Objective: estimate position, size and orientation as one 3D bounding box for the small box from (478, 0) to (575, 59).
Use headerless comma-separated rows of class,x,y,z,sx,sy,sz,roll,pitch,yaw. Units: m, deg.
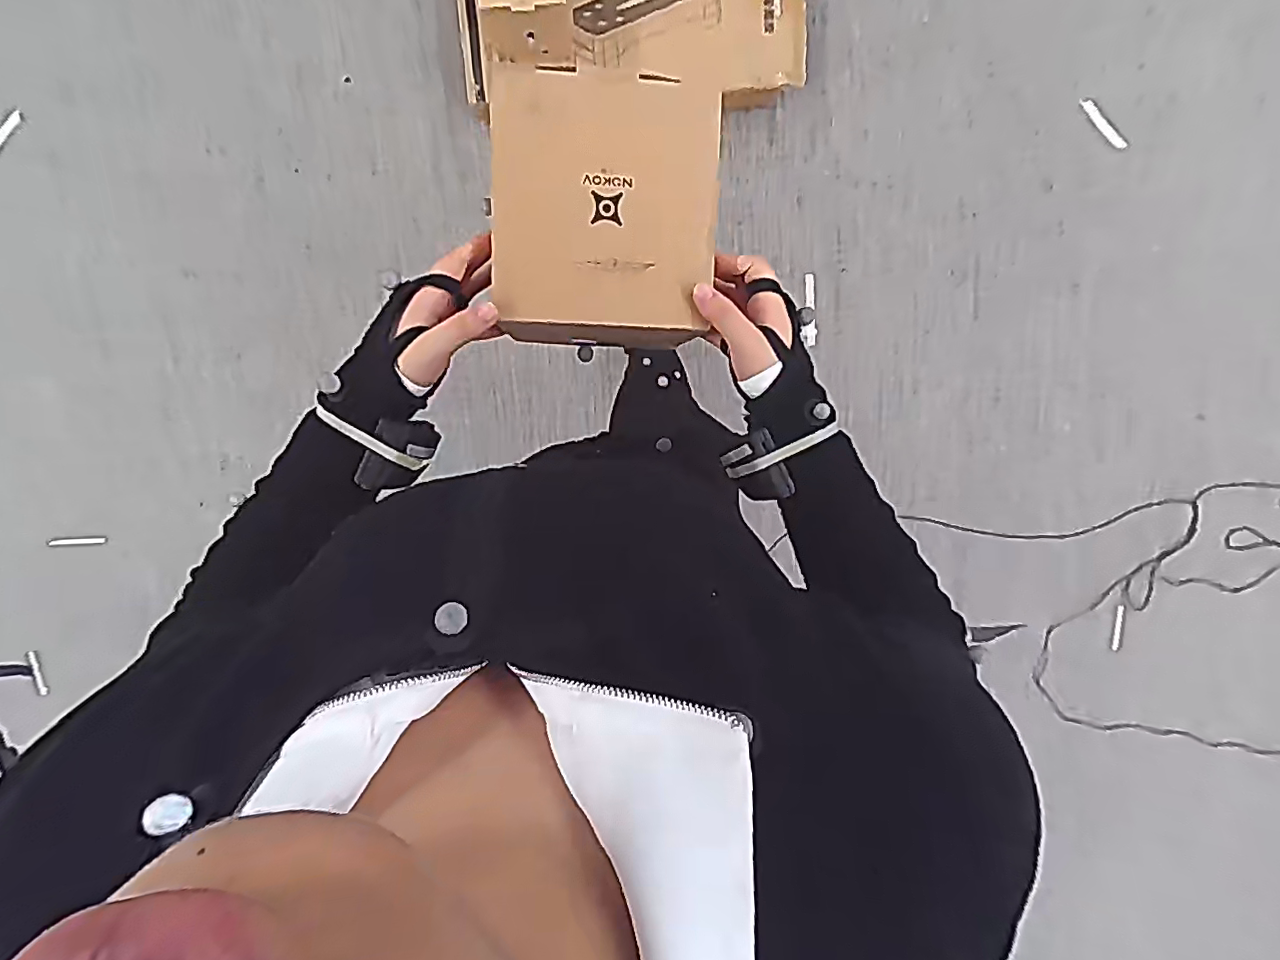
small box,-0.221,-0.966,1.064,0.168,0.176,0.179,-2,102,-1
